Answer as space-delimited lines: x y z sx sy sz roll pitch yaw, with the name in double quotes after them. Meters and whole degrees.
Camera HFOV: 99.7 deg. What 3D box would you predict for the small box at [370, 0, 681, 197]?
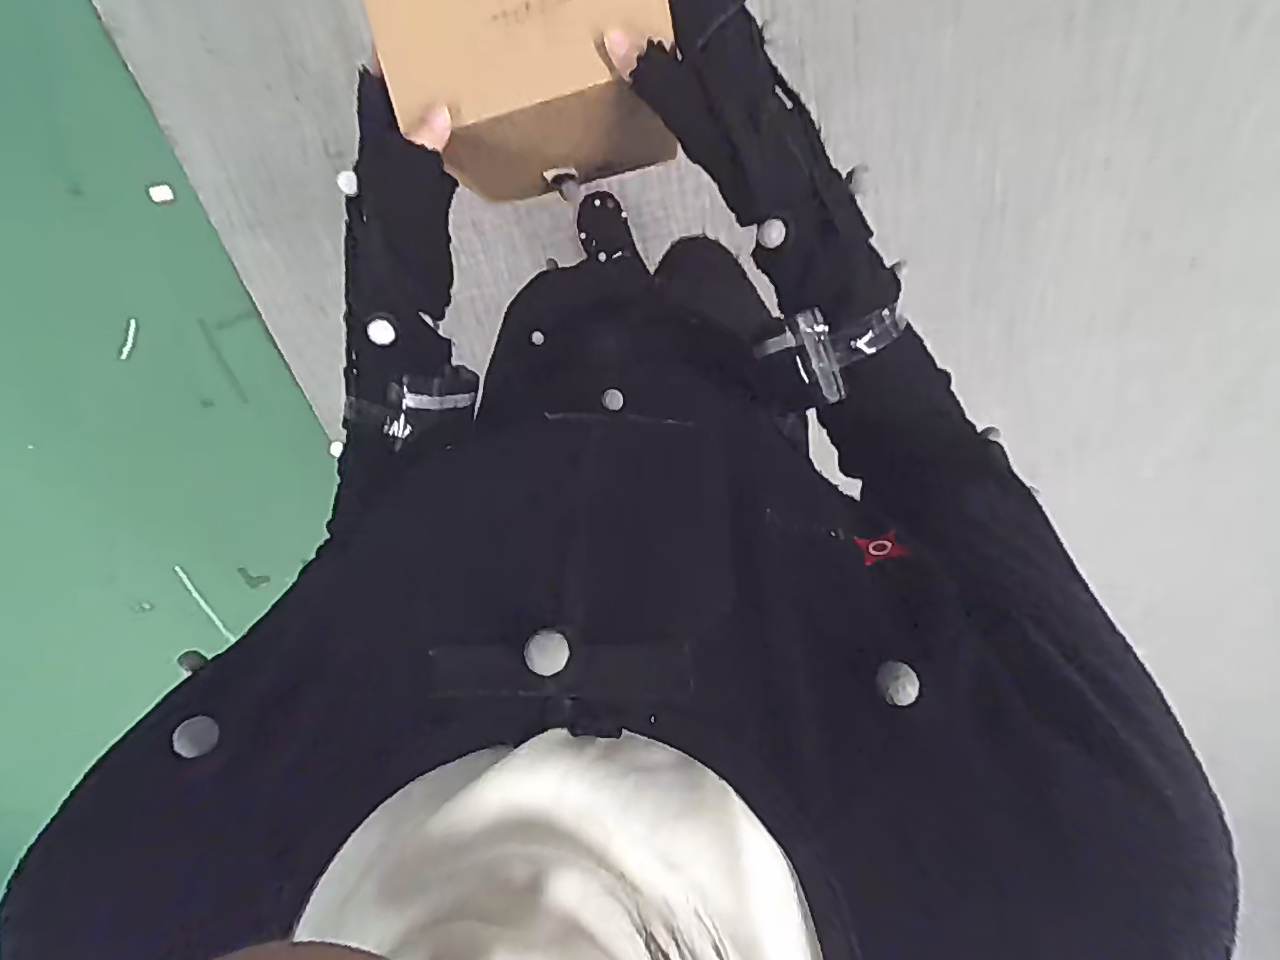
-0.070 -0.322 0.364 0.168 0.176 0.179 -12 104 8 "small box"
